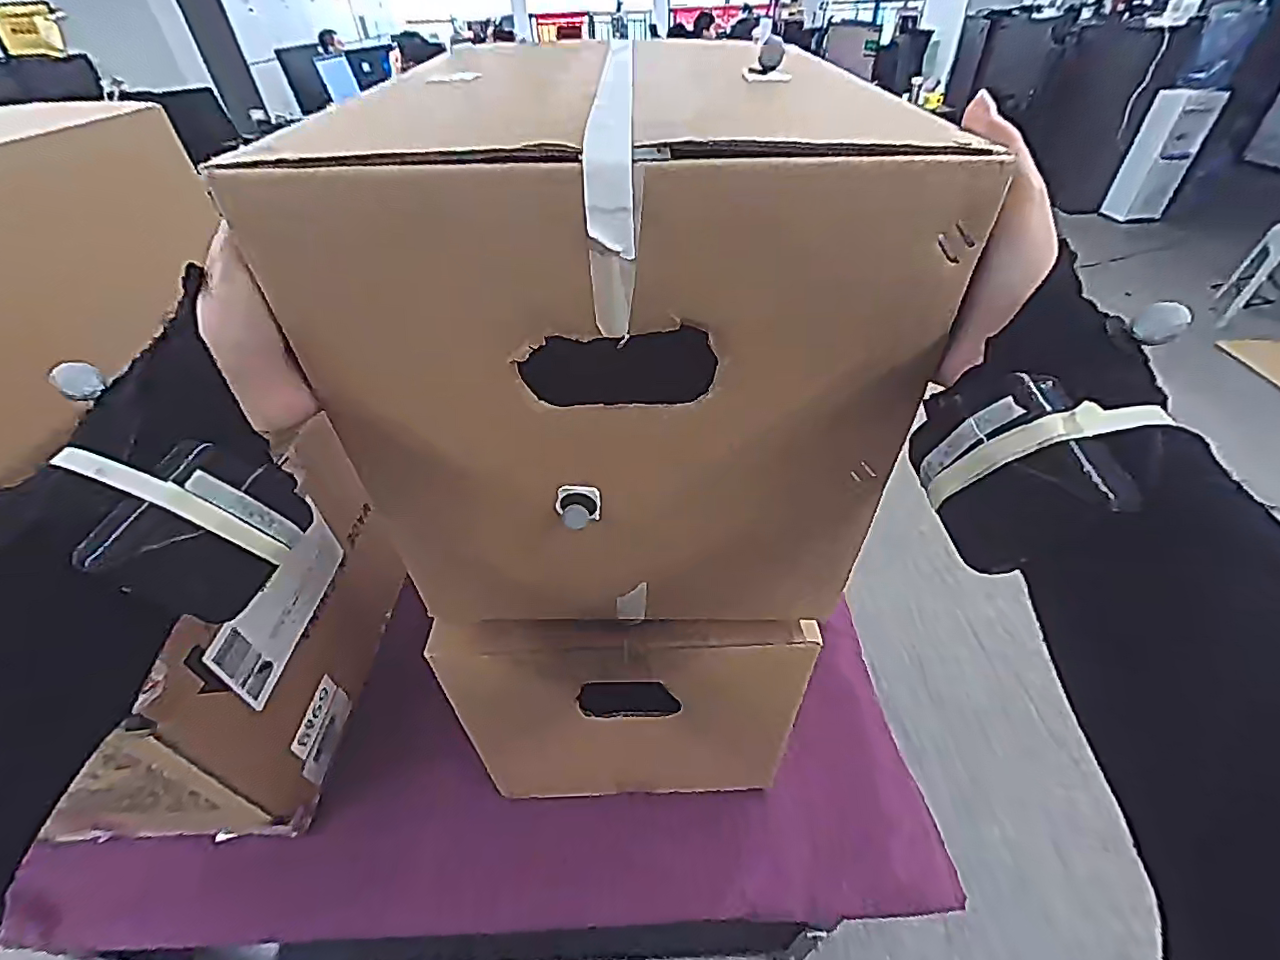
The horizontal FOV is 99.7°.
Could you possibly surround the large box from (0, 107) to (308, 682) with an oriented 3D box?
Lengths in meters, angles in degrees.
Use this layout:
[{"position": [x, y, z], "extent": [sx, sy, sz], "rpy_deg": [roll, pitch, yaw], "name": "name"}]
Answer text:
[{"position": [-0.564, -0.087, 0.449], "extent": [0.320, 0.320, 0.408], "rpy_deg": [-4, 43, 1], "name": "large box"}]
